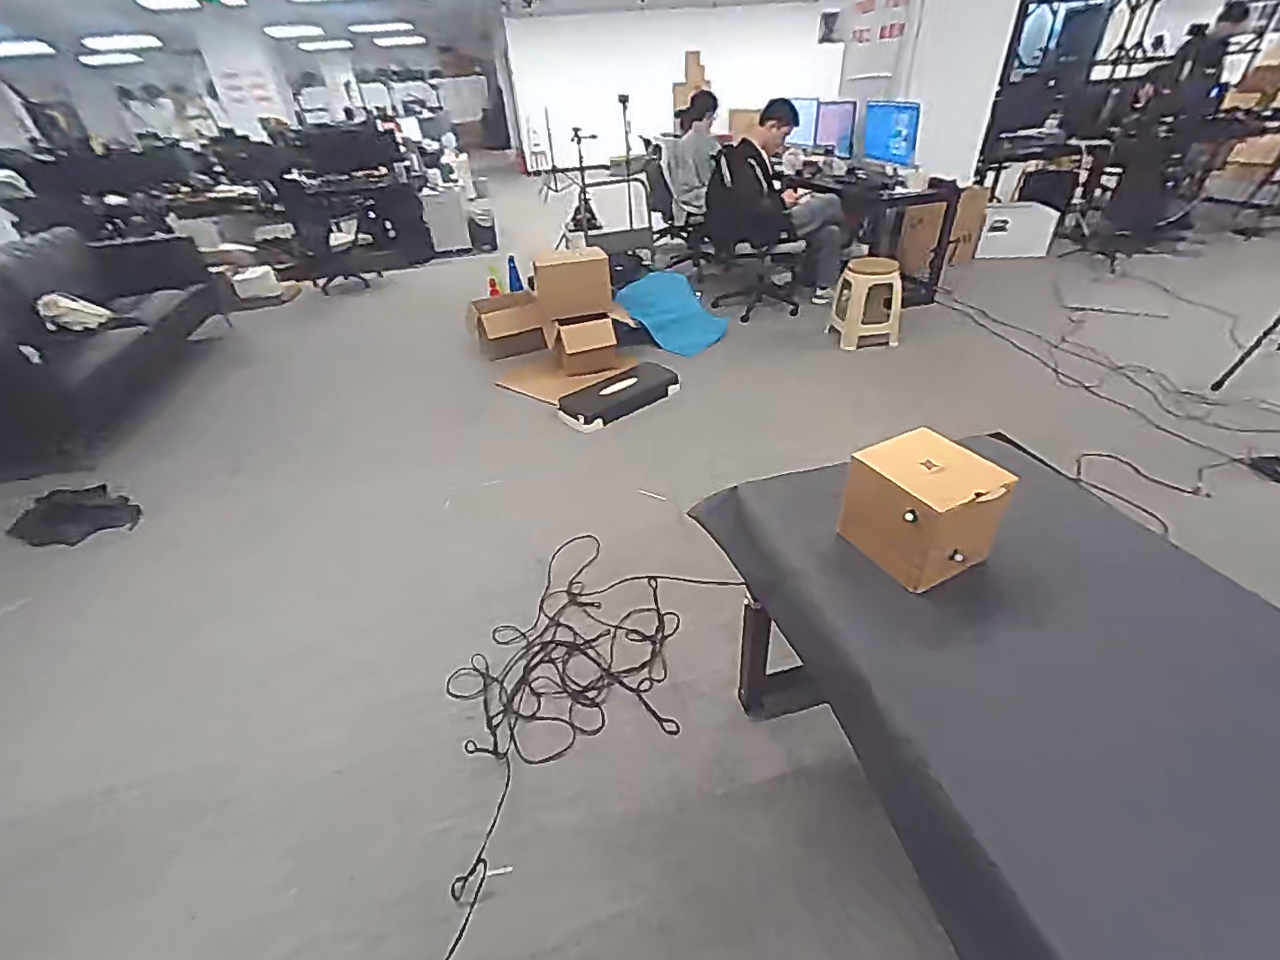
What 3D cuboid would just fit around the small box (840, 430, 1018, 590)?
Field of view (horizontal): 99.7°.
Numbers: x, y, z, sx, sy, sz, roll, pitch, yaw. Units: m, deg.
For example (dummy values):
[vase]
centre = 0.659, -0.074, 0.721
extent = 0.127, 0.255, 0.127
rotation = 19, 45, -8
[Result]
[small box]
centre = 0.454, 0.045, 0.881
extent = 0.168, 0.176, 0.179
rotation = -19, 39, -20
